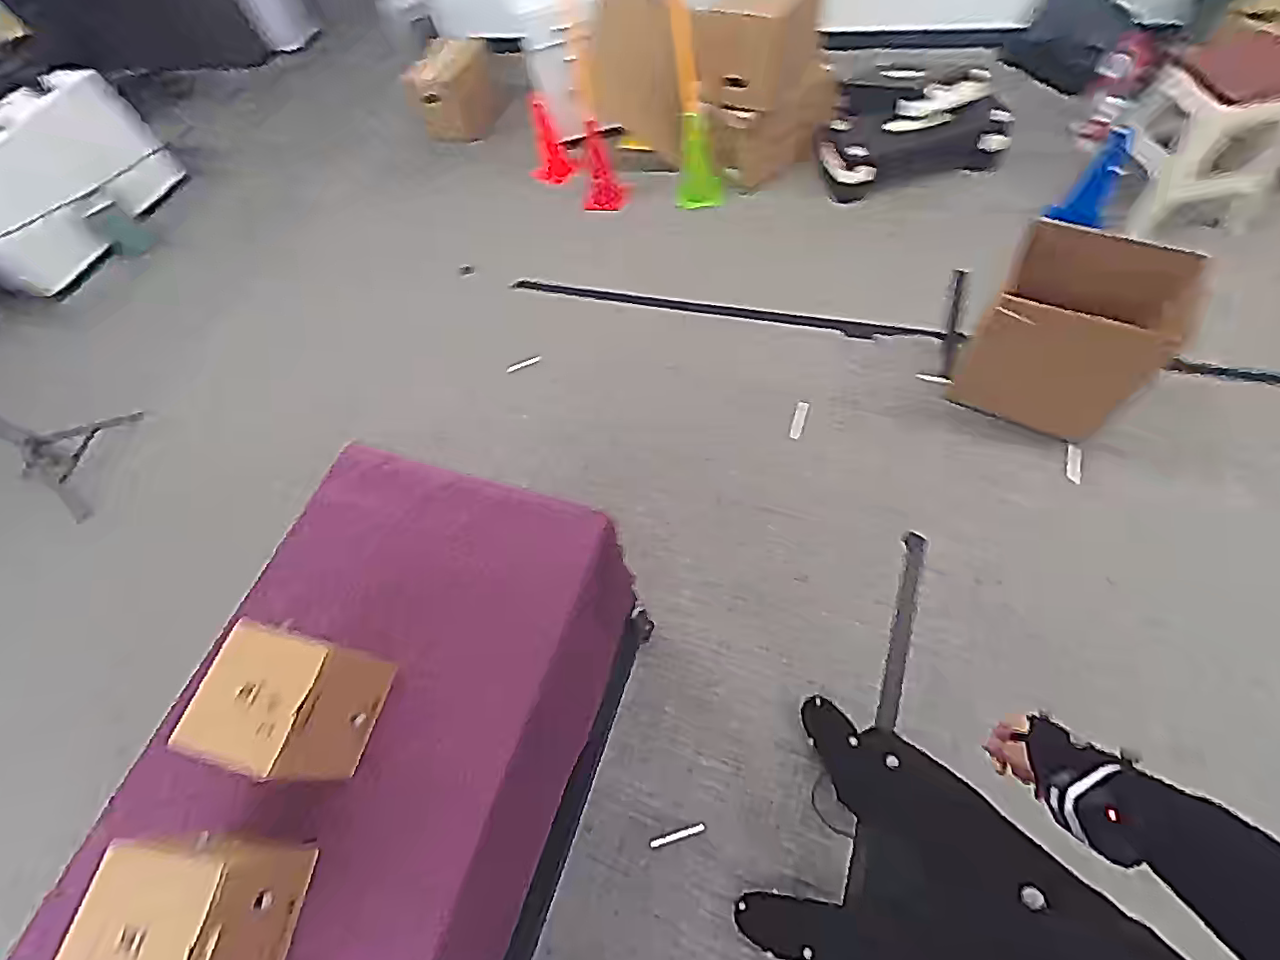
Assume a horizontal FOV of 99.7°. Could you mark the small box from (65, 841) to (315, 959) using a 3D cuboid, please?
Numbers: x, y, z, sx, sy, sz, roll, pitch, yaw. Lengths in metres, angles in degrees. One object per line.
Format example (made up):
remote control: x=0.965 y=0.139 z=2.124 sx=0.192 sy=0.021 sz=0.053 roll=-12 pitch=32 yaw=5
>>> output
small box: x=-0.561 y=0.571 z=0.685 sx=0.179 sy=0.176 sz=0.168 roll=0 pitch=61 yaw=11

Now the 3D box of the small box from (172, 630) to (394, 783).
small box: x=-0.511 y=0.337 z=0.801 sx=0.179 sy=0.176 sz=0.168 roll=8 pitch=64 yaw=15
